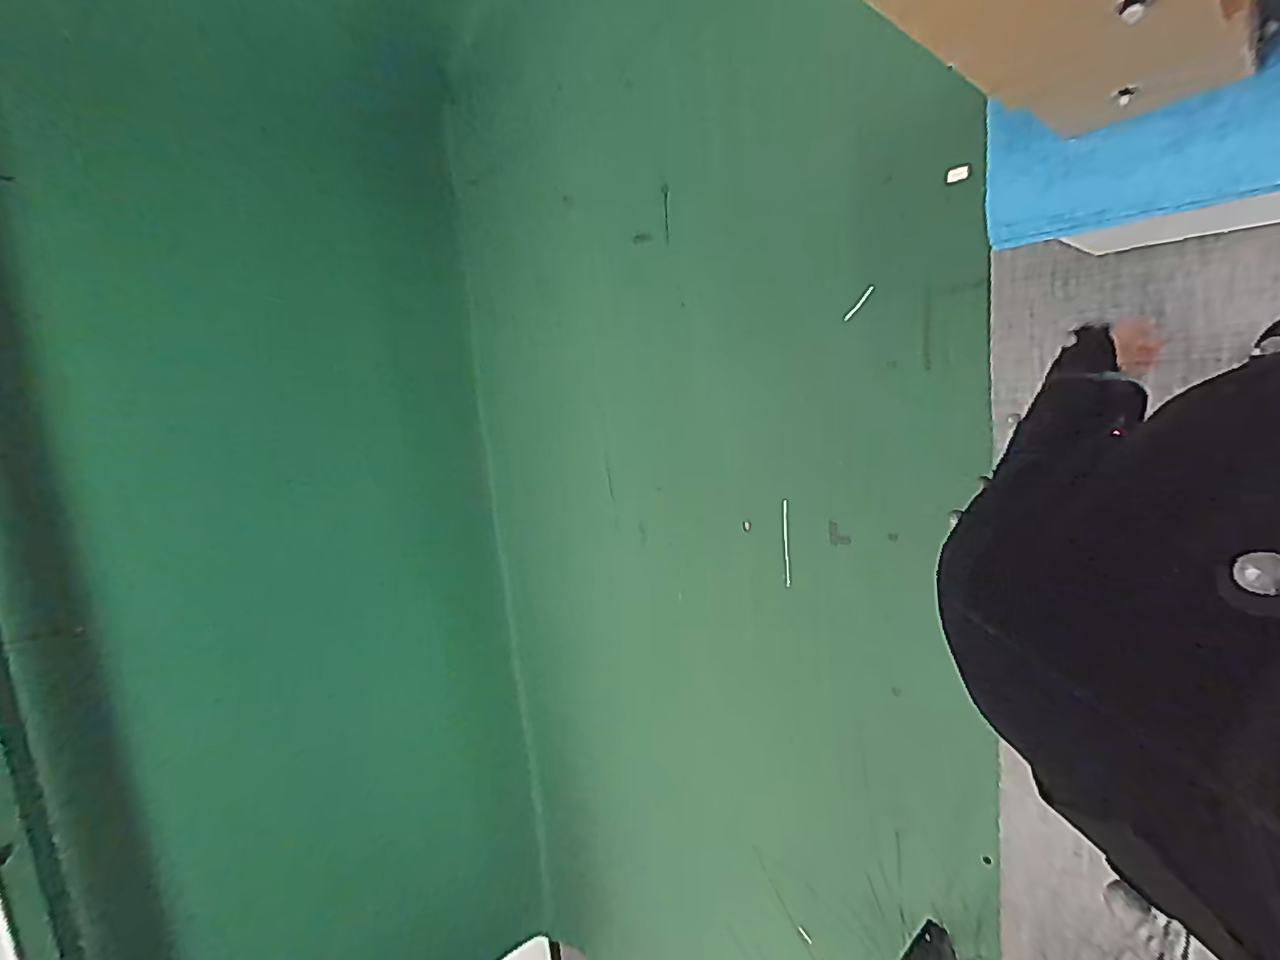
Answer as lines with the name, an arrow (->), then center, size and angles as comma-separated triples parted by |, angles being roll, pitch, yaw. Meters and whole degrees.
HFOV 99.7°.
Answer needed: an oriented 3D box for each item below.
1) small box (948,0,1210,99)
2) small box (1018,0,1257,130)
small box -> 0.408, -0.494, 0.494 | 0.179, 0.176, 0.168 | 5, 102, 51
small box -> 0.541, -0.520, 0.589 | 0.179, 0.176, 0.168 | 5, 102, 51
